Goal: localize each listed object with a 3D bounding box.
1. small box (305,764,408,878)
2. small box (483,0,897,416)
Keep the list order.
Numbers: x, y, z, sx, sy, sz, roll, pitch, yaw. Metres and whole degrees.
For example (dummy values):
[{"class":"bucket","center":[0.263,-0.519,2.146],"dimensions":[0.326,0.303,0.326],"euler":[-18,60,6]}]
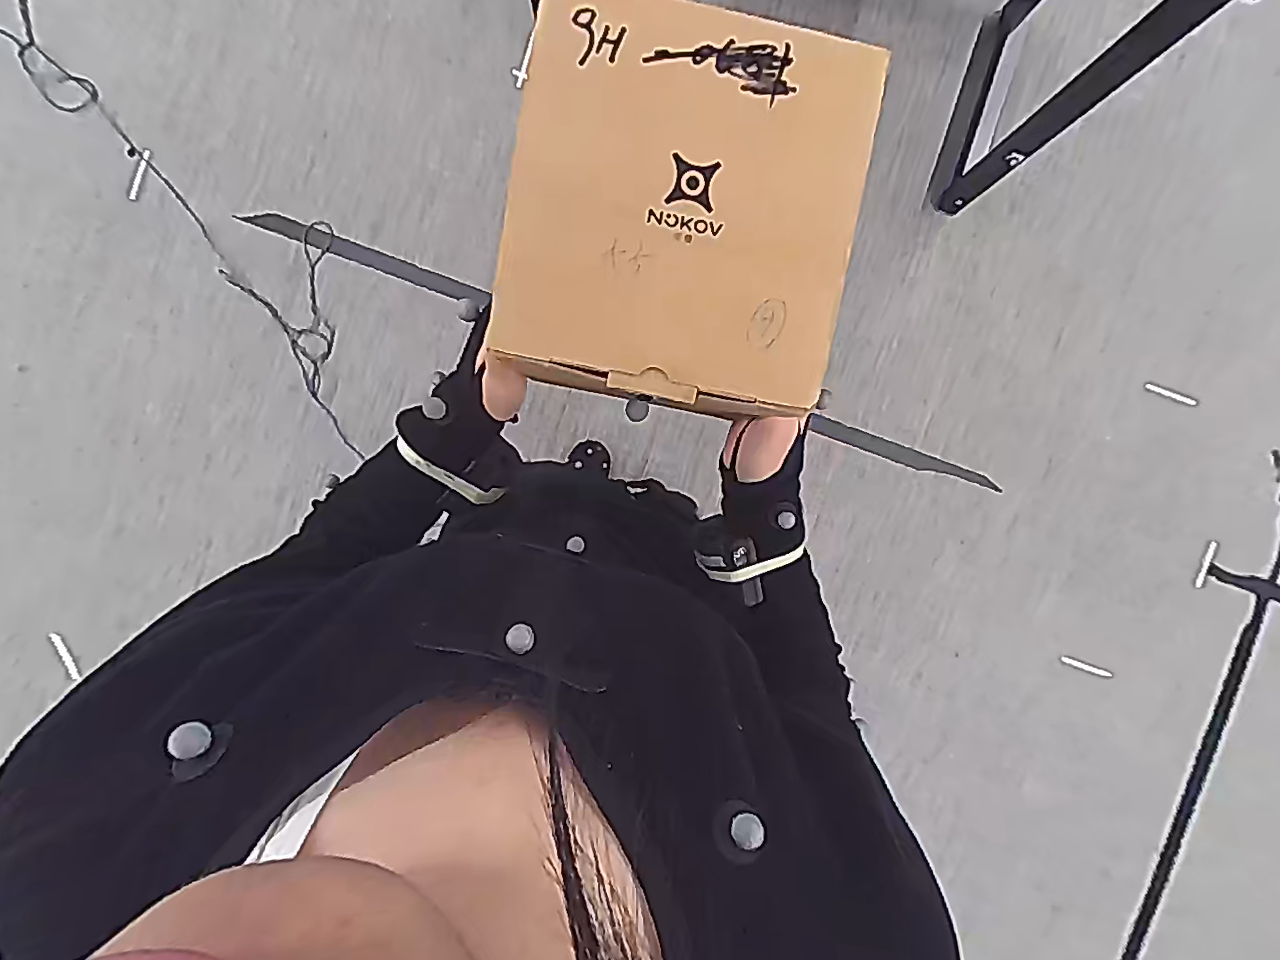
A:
[{"class":"small box","center":[-0.728,0.879,1.409],"dimensions":[0.168,0.176,0.179],"euler":[13,92,-2]},{"class":"small box","center":[0.018,-0.139,0.329],"dimensions":[0.168,0.176,0.179],"euler":[11,96,-5]}]
